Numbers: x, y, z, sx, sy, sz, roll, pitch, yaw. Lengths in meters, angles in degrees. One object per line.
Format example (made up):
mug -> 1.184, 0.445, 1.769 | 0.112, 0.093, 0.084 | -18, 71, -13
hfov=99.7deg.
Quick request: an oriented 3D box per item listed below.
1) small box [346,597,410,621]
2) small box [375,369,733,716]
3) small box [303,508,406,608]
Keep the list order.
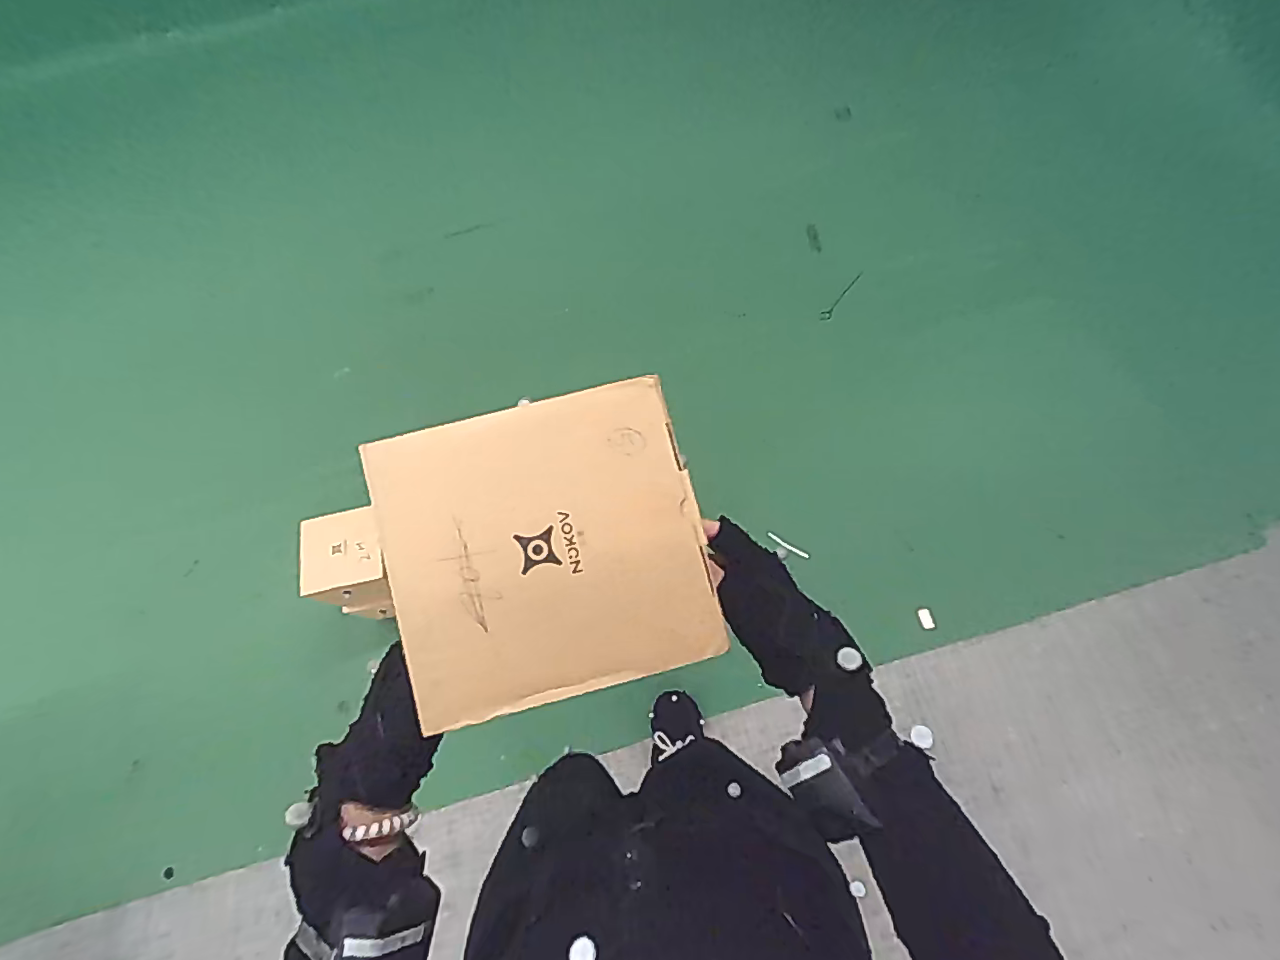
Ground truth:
small box -> -0.613, 0.252, 1.361 | 0.168, 0.176, 0.179 | -11, 68, -1
small box -> -0.053, 0.039, 0.385 | 0.179, 0.176, 0.168 | -14, 84, -4
small box -> -0.615, 0.181, 1.211 | 0.179, 0.176, 0.168 | -12, 68, -1
